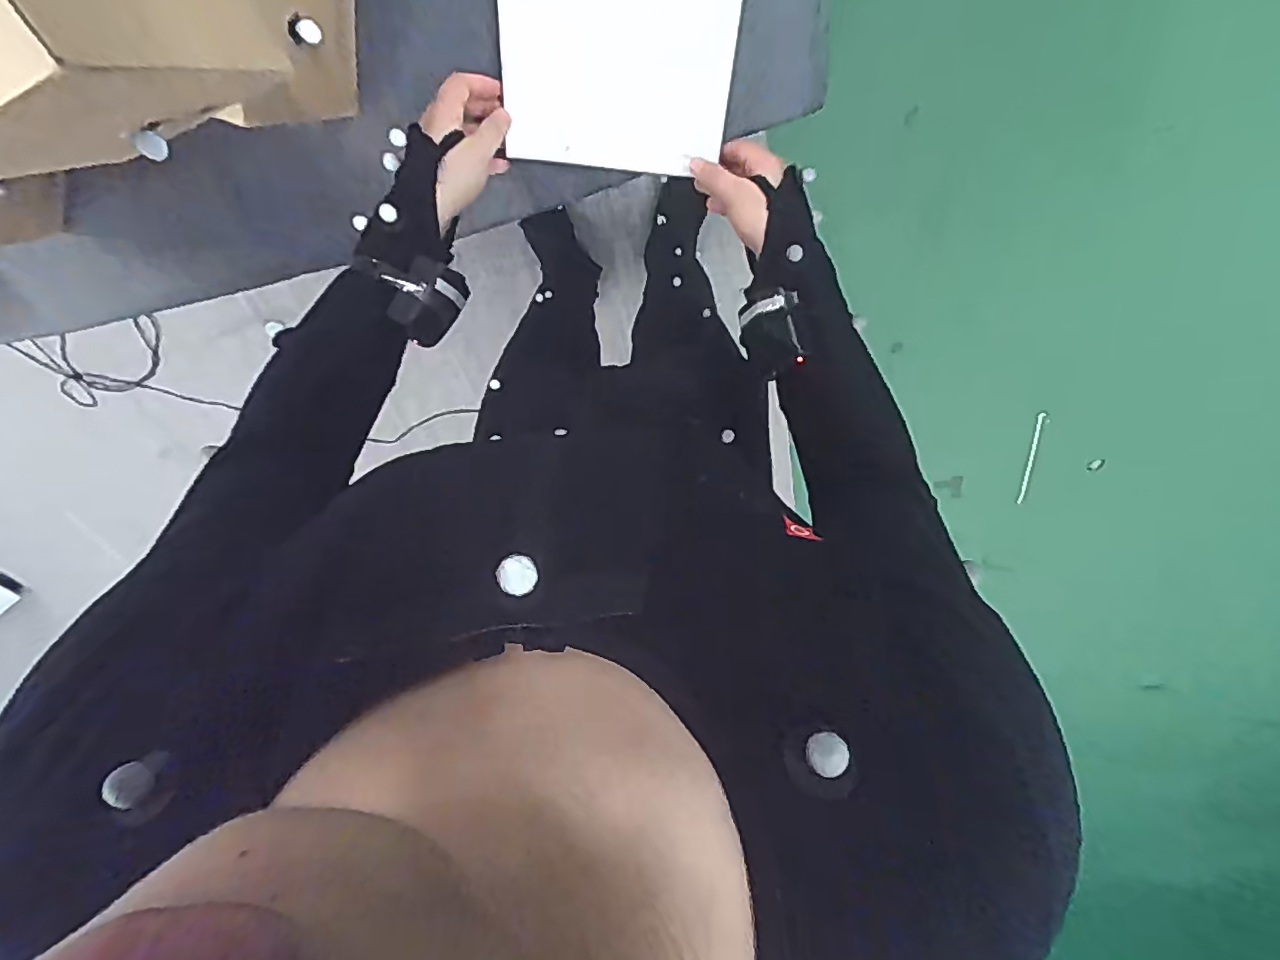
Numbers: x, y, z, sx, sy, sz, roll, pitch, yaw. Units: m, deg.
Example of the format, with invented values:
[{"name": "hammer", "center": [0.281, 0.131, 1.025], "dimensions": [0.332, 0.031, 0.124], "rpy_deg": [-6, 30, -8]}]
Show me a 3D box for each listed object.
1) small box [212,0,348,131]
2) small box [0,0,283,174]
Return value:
[{"name": "small box", "center": [-0.329, -0.375, 0.383], "dimensions": [0.179, 0.176, 0.168], "rpy_deg": [15, 127, -6]}, {"name": "small box", "center": [-0.334, -0.264, 0.261], "dimensions": [0.168, 0.176, 0.179], "rpy_deg": [-12, 125, 15]}]
